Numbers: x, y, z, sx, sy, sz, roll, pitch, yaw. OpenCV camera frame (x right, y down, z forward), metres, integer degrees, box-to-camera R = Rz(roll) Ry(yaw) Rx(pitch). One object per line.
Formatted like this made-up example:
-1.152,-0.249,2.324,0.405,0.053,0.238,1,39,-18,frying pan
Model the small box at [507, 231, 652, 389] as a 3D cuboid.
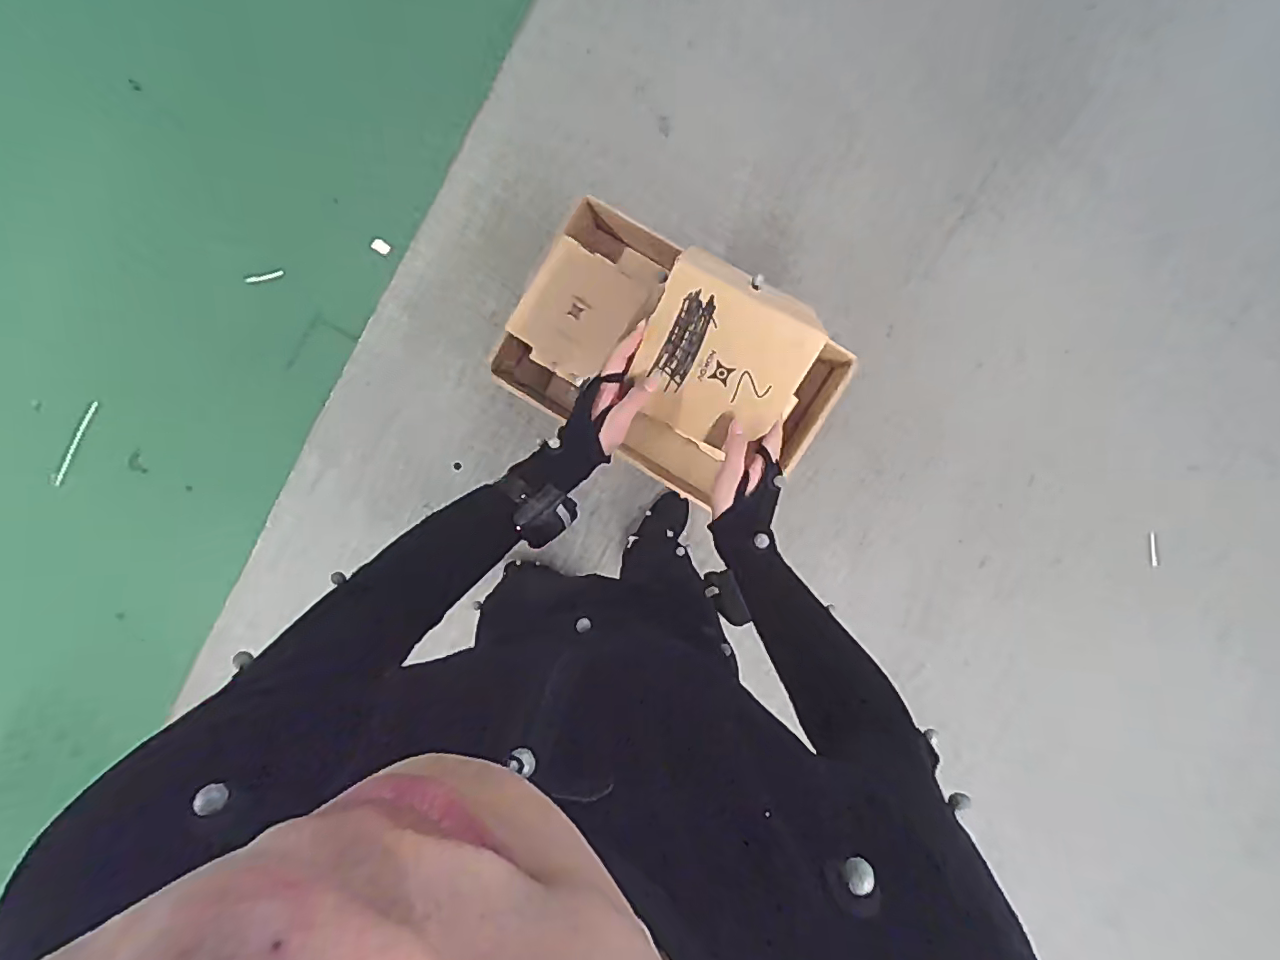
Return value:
-0.093,-0.276,0.918,0.168,0.176,0.179,34,95,1,small box
